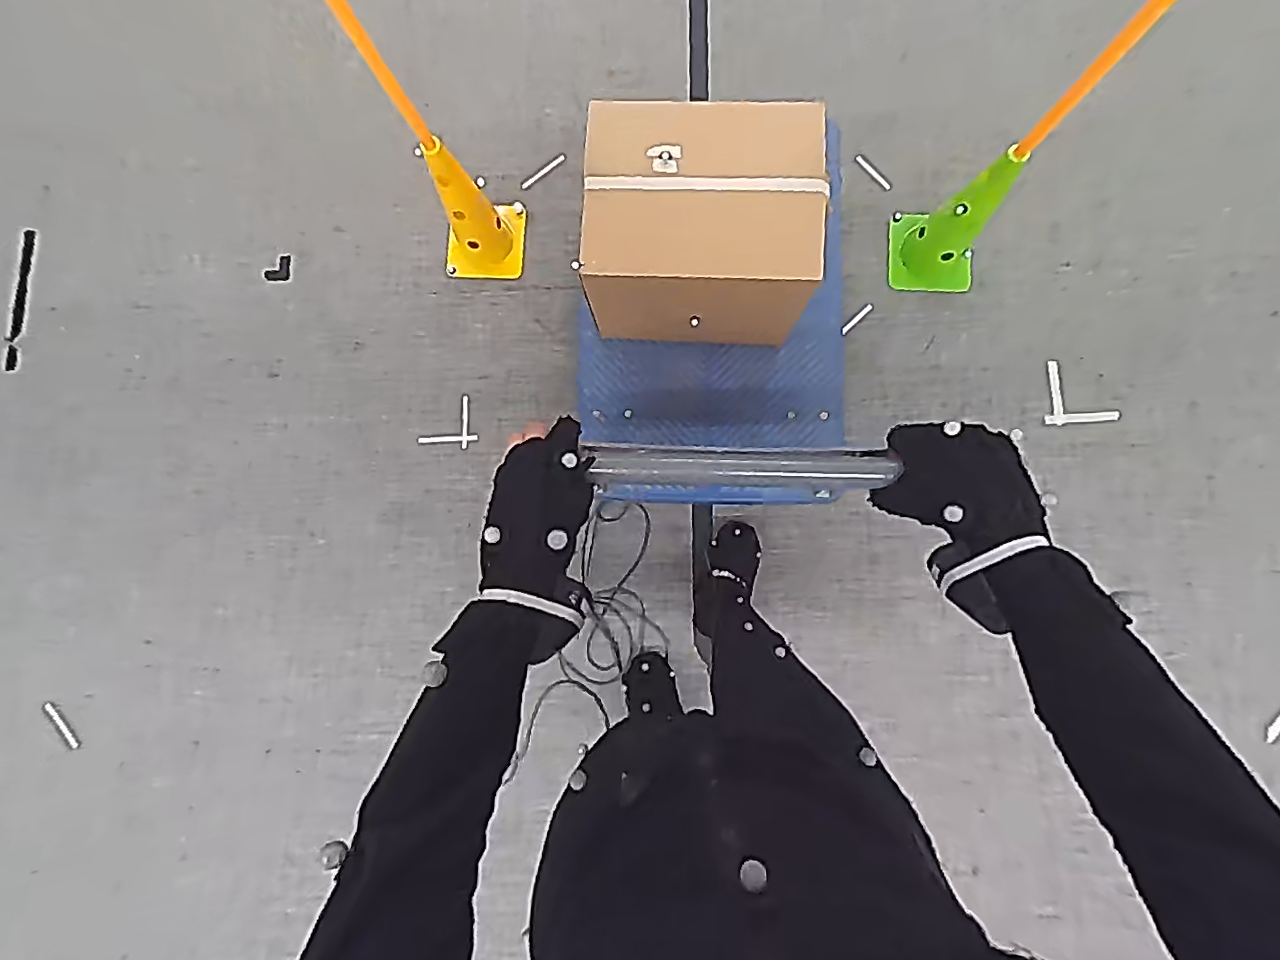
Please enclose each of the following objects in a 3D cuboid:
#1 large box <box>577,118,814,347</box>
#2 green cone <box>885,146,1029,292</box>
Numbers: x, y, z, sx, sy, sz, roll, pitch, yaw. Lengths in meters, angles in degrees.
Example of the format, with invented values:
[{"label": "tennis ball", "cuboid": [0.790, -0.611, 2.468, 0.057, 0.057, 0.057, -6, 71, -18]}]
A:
[{"label": "large box", "cuboid": [0.107, -0.459, 1.071, 0.408, 0.320, 0.320, 2, 85, 4]}, {"label": "green cone", "cuboid": [0.715, -0.590, 1.196, 0.202, 0.368, 0.200, 3, 84, 2]}]
